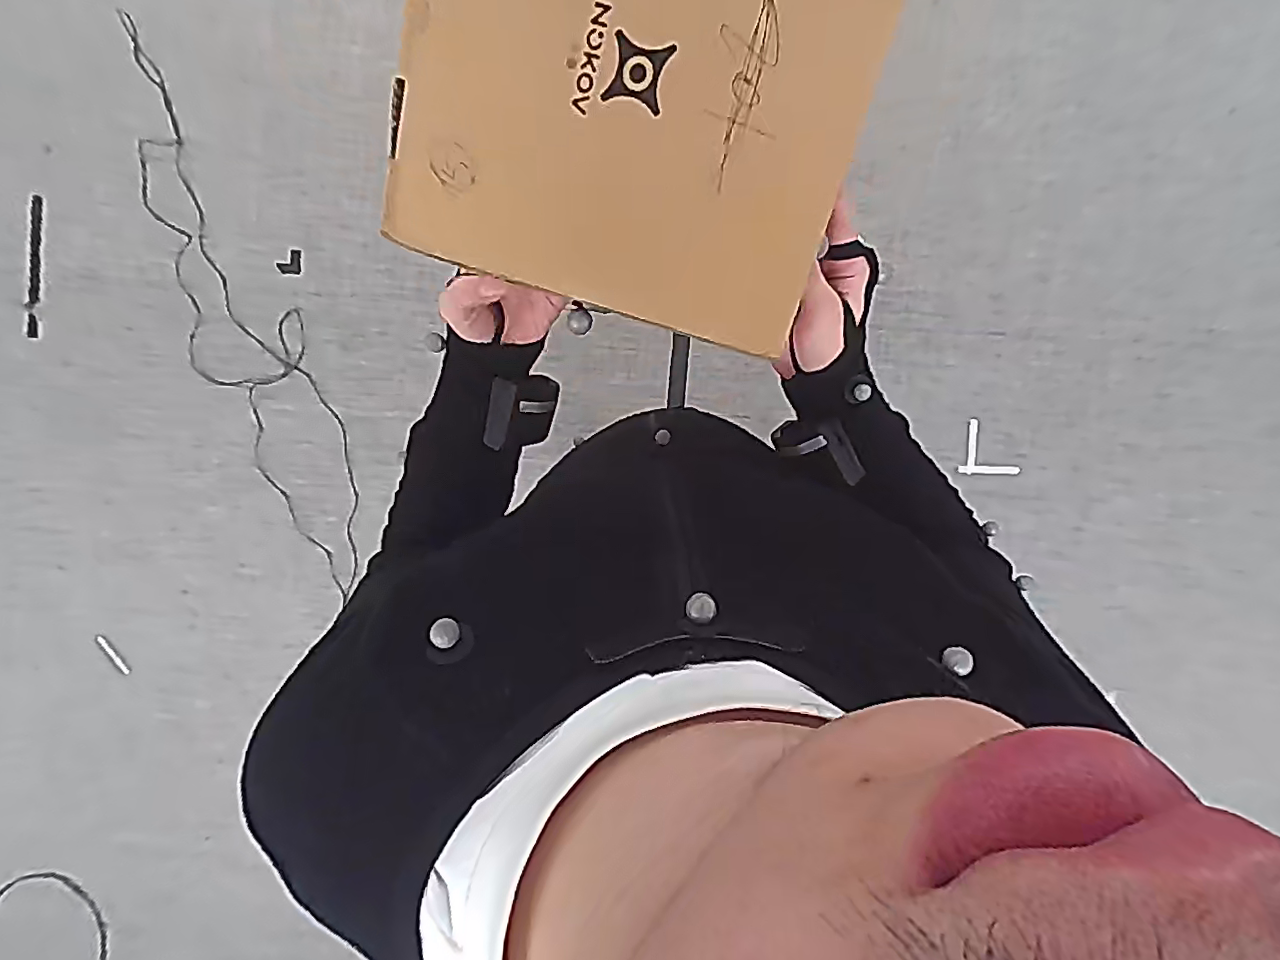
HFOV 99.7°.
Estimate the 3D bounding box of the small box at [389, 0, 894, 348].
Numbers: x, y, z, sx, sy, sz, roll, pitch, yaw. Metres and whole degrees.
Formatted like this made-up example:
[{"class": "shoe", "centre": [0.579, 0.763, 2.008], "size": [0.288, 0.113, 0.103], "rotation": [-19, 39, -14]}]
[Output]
[{"class": "small box", "centre": [0.006, -0.174, 0.286], "size": [0.179, 0.176, 0.168], "rotation": [18, 107, 3]}]
